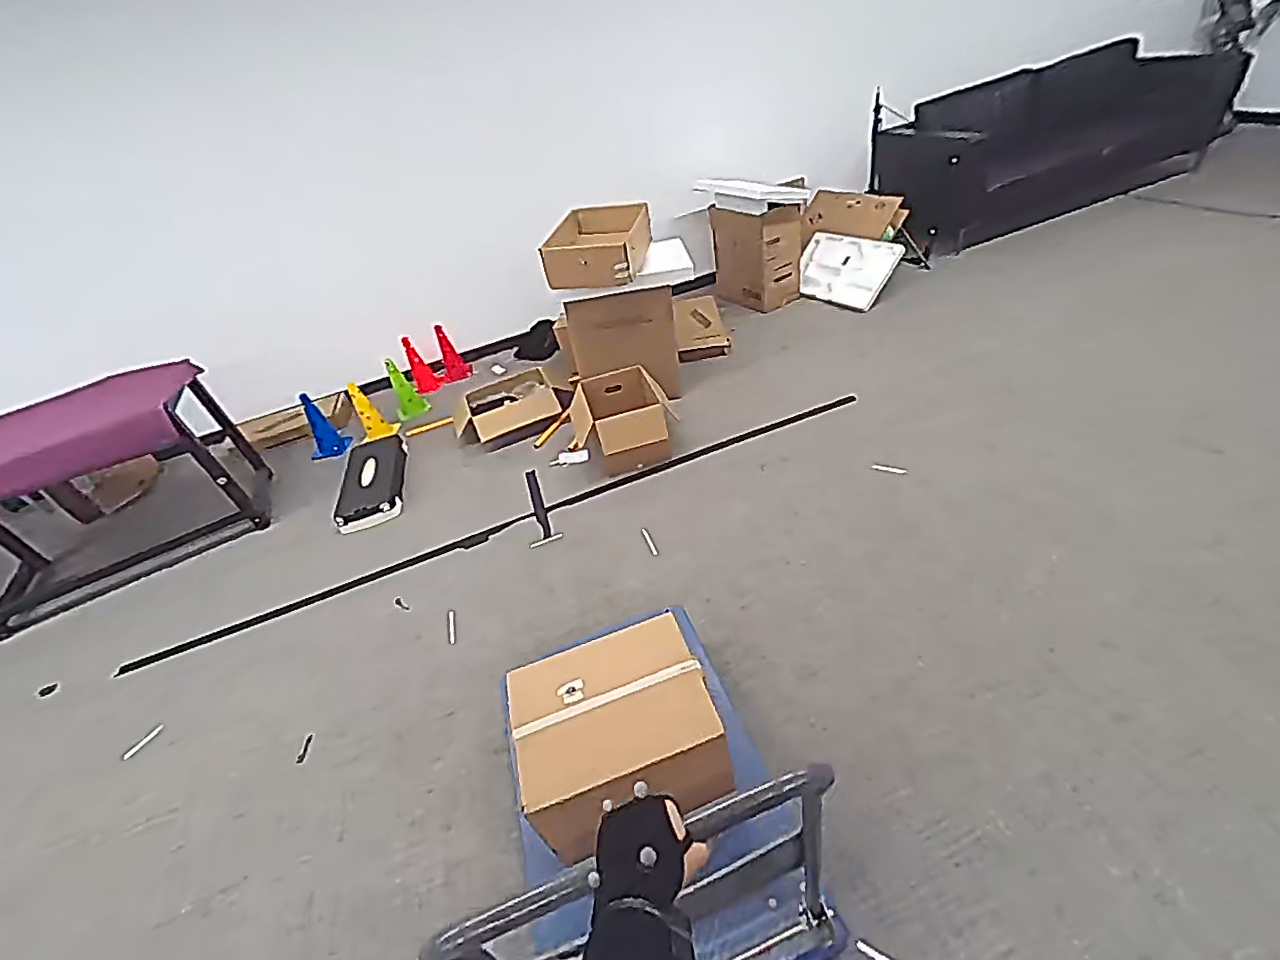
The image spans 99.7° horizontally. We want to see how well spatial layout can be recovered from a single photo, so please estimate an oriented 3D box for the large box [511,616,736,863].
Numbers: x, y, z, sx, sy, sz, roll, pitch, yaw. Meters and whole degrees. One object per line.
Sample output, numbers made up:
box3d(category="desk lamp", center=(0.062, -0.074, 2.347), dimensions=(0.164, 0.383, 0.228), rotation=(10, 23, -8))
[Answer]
box3d(category="large box", center=(-0.036, 0.583, 1.232), dimensions=(0.408, 0.320, 0.320), rotation=(-20, 38, -6))
